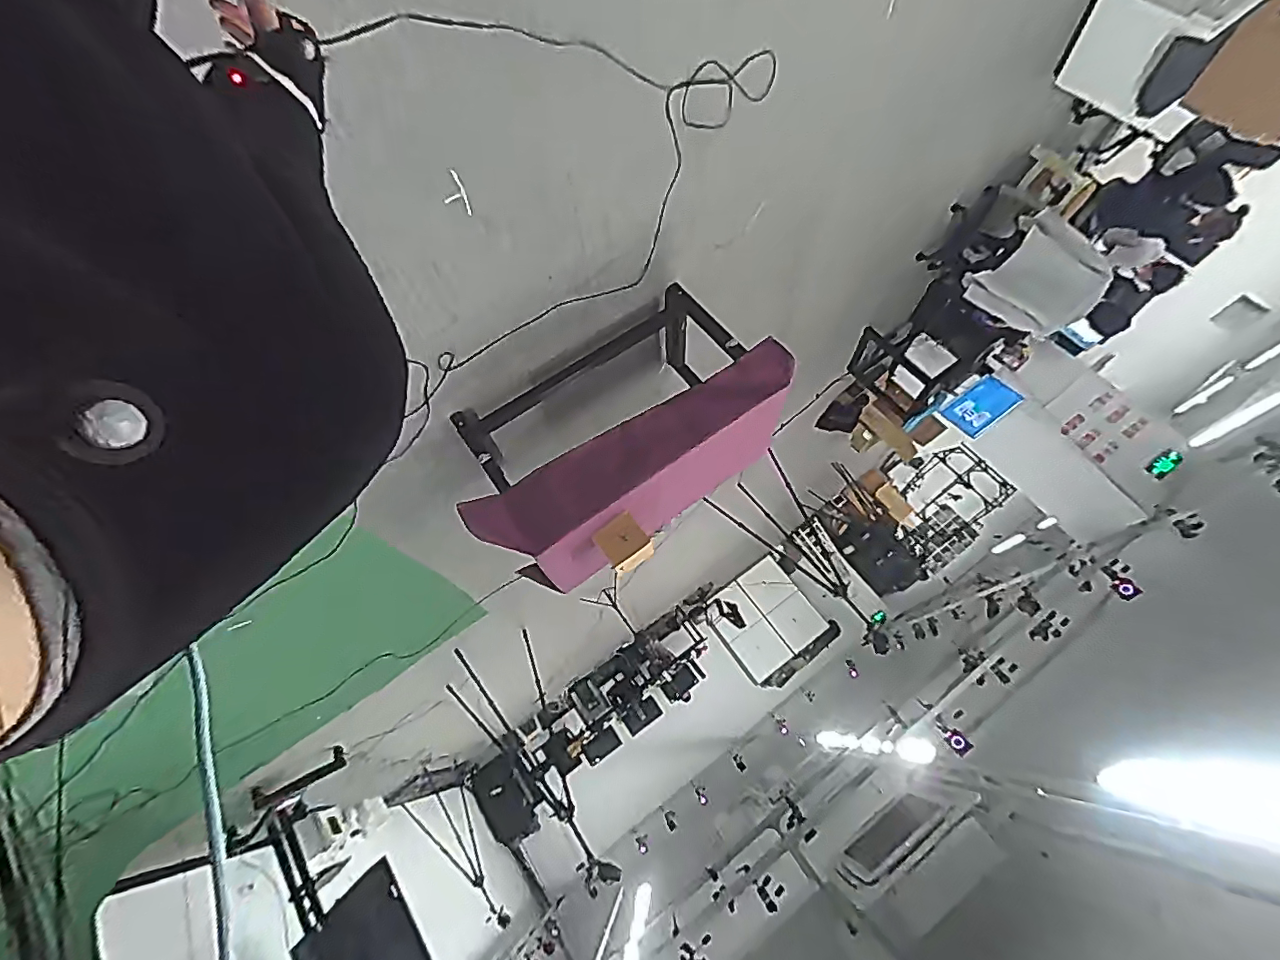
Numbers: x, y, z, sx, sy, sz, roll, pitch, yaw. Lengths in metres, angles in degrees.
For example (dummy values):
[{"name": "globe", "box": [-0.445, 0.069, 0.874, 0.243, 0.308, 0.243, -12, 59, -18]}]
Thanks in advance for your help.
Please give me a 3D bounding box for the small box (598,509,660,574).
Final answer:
[{"name": "small box", "box": [-0.043, 0.243, 2.147, 0.179, 0.176, 0.168, -36, 158, -9]}]
